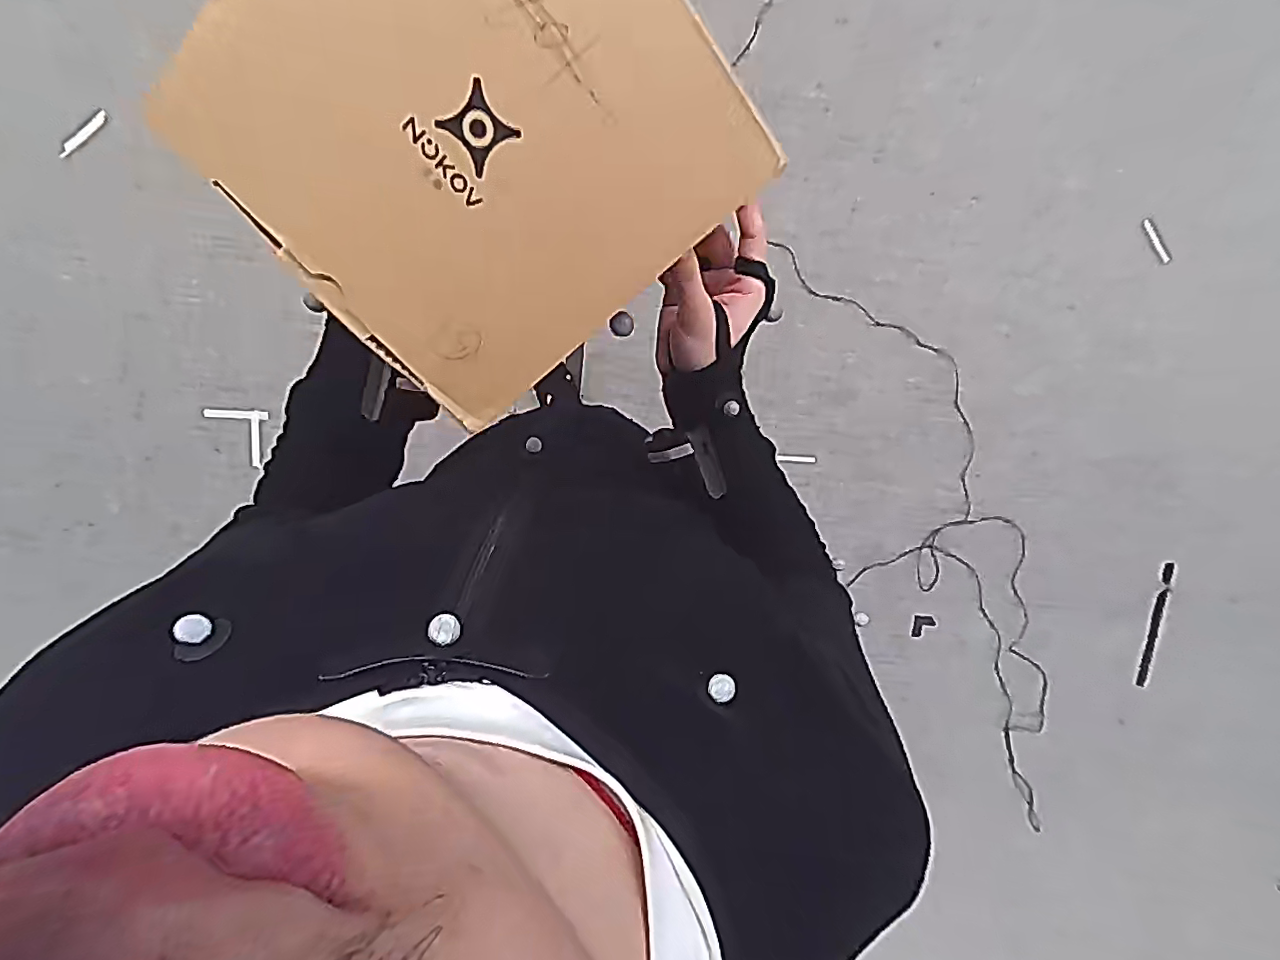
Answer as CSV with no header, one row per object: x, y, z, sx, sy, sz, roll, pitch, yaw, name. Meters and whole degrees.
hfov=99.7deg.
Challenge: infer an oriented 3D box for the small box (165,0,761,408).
-0.068,-0.170,0.285,0.179,0.176,0.168,-38,110,13,small box
